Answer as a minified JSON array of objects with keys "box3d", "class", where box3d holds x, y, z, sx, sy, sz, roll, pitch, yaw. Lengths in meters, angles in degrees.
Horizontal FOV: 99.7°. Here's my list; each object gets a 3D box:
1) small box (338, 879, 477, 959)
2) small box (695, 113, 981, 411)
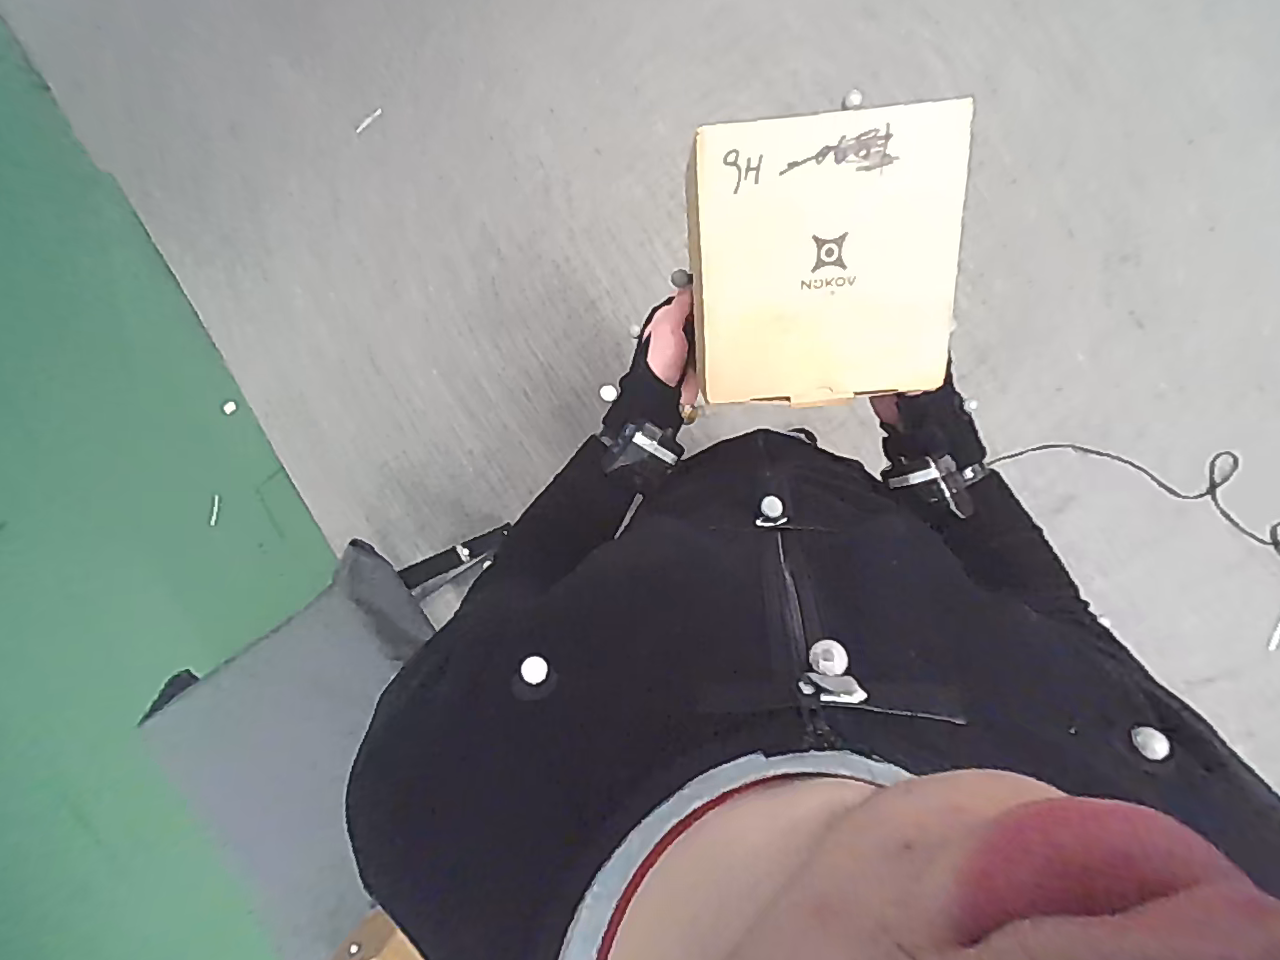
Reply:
[{"box3d":[-0.414,0.857,0.951,0.179,0.176,0.168,-33,87,14],"class":"small box"},{"box3d":[0.132,-0.164,0.432,0.168,0.176,0.179,-4,111,3],"class":"small box"}]
